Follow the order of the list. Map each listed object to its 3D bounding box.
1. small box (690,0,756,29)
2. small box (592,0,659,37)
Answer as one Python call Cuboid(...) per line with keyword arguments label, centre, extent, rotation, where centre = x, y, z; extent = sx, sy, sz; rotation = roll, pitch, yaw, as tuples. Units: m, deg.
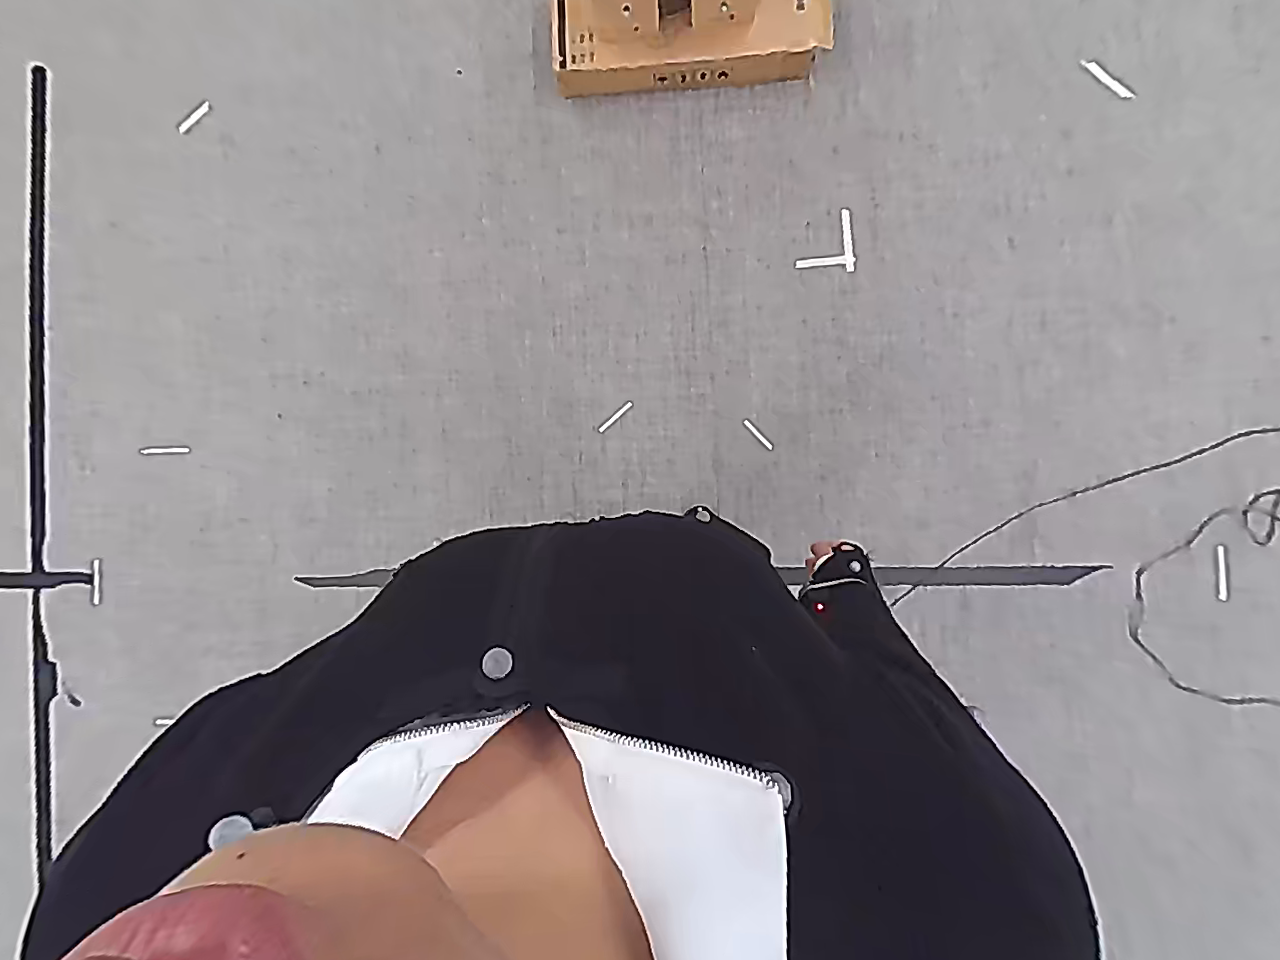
Cuboid(label="small box", centre=(0.206, -1.279, 1.343), extent=(0.168, 0.176, 0.179), rotation=(-3, 88, 4))
Cuboid(label="small box", centre=(-0.041, -1.262, 1.361), extent=(0.168, 0.176, 0.179), rotation=(-5, 88, 4))
